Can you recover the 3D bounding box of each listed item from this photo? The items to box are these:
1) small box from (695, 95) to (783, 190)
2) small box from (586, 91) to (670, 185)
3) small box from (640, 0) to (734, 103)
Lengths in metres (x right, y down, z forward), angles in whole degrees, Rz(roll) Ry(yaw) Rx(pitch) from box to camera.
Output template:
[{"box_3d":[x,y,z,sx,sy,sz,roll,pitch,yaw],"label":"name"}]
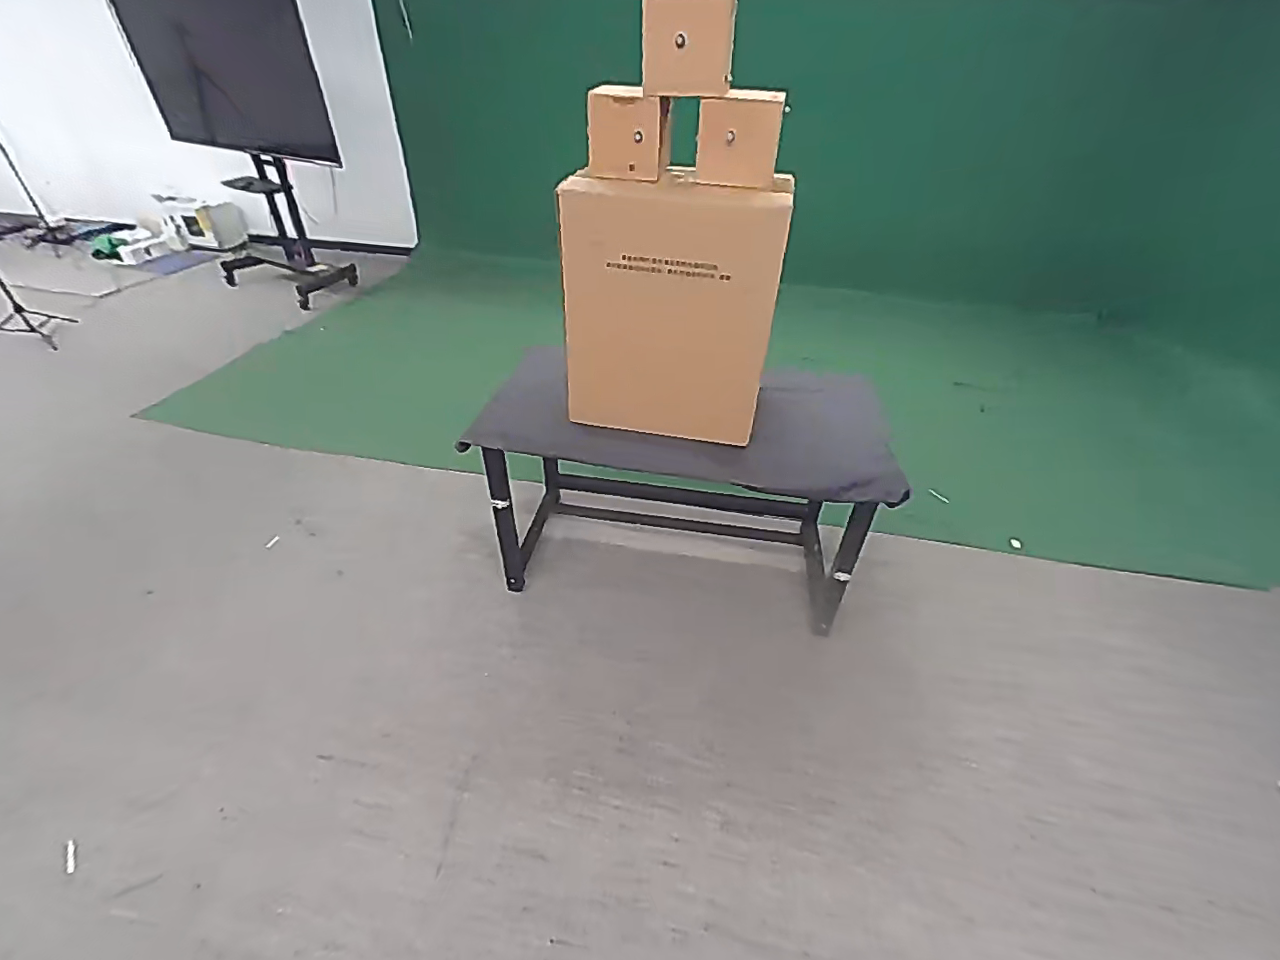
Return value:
[{"box_3d":[0.227,-0.784,1.255,0.179,0.176,0.168,9,42,10],"label":"small box"},{"box_3d":[-0.024,-0.819,1.293,0.168,0.176,0.179,9,40,7],"label":"small box"},{"box_3d":[0.102,-0.927,1.167,0.179,0.176,0.168,7,41,9],"label":"small box"}]
